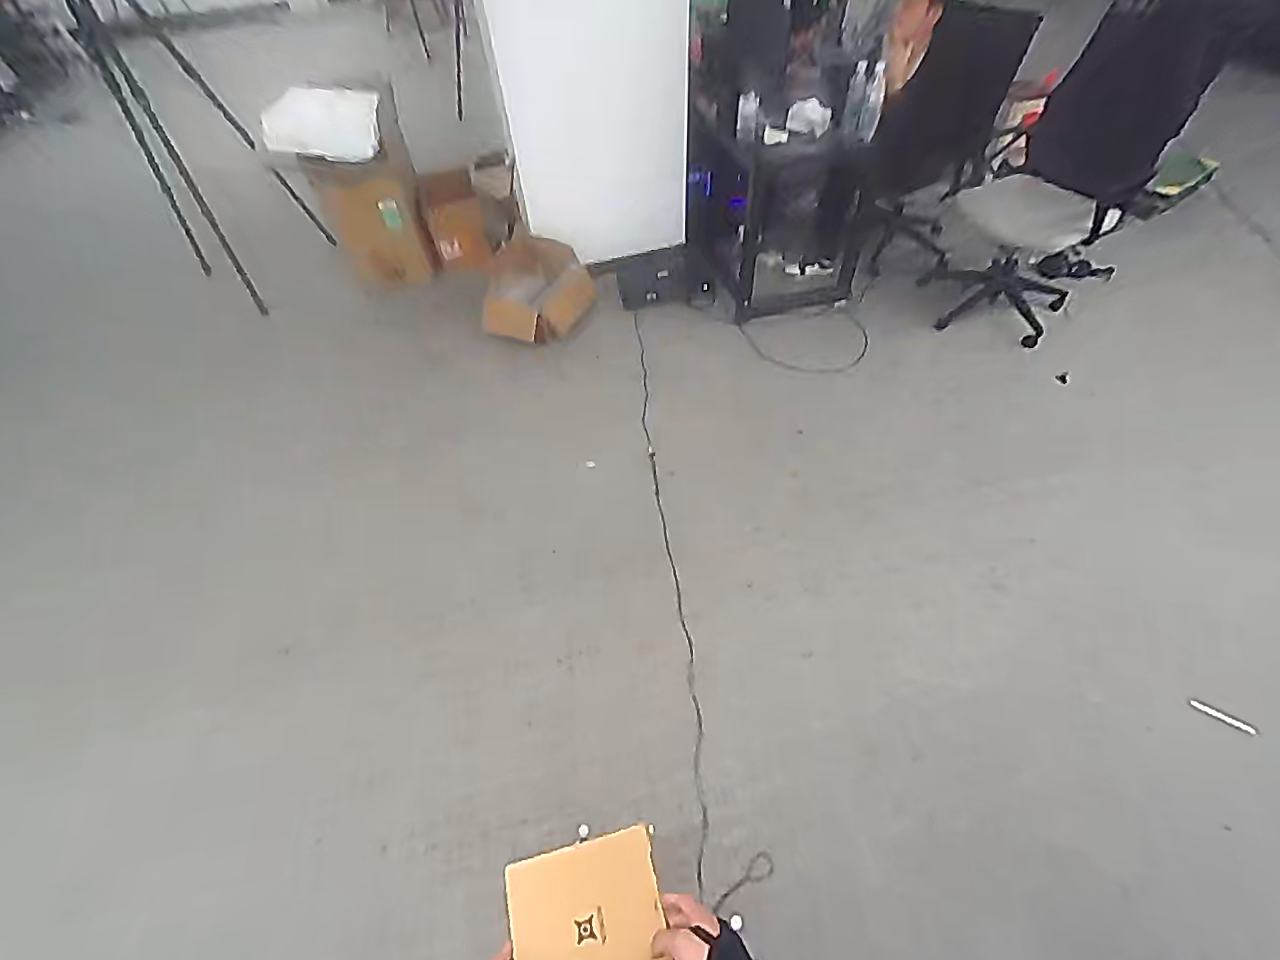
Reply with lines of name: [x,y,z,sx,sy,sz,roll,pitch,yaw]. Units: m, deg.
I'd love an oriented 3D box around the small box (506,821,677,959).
small box: [-0.056,0.547,0.676,0.179,0.176,0.168,-12,58,-8]
